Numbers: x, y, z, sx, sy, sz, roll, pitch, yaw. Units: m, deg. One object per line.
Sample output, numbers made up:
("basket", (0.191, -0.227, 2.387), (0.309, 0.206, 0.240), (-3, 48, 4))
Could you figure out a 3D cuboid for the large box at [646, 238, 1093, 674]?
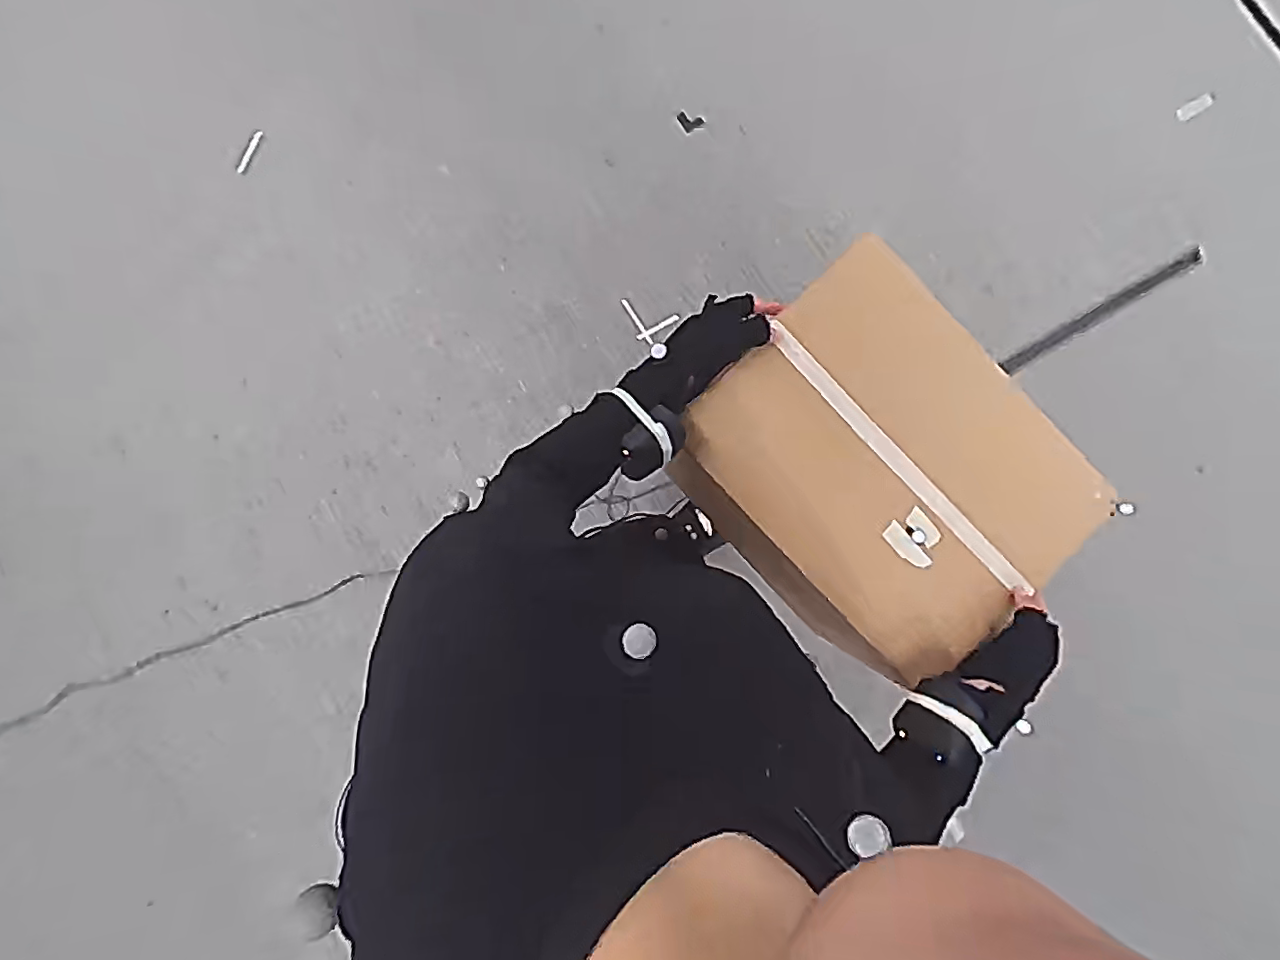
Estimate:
("large box", (0.260, -0.026, 0.746), (0.320, 0.320, 0.408), (-43, 92, -3))
